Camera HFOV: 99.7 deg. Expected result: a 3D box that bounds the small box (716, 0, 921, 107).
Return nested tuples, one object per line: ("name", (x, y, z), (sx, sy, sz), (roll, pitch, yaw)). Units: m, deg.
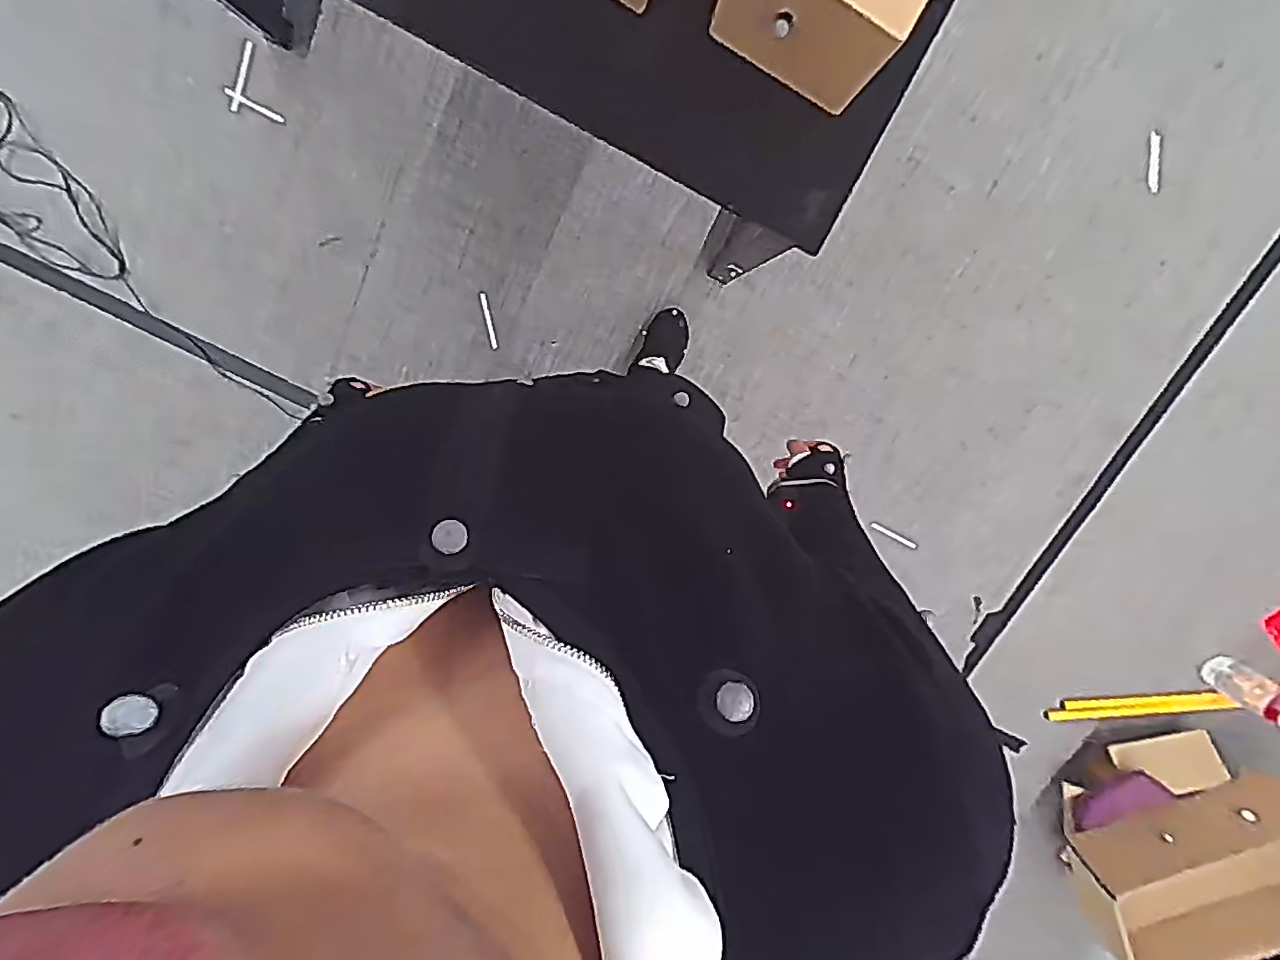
("small box", (0.191, -0.514, 0.529), (0.179, 0.176, 0.168), (27, 103, -6))
